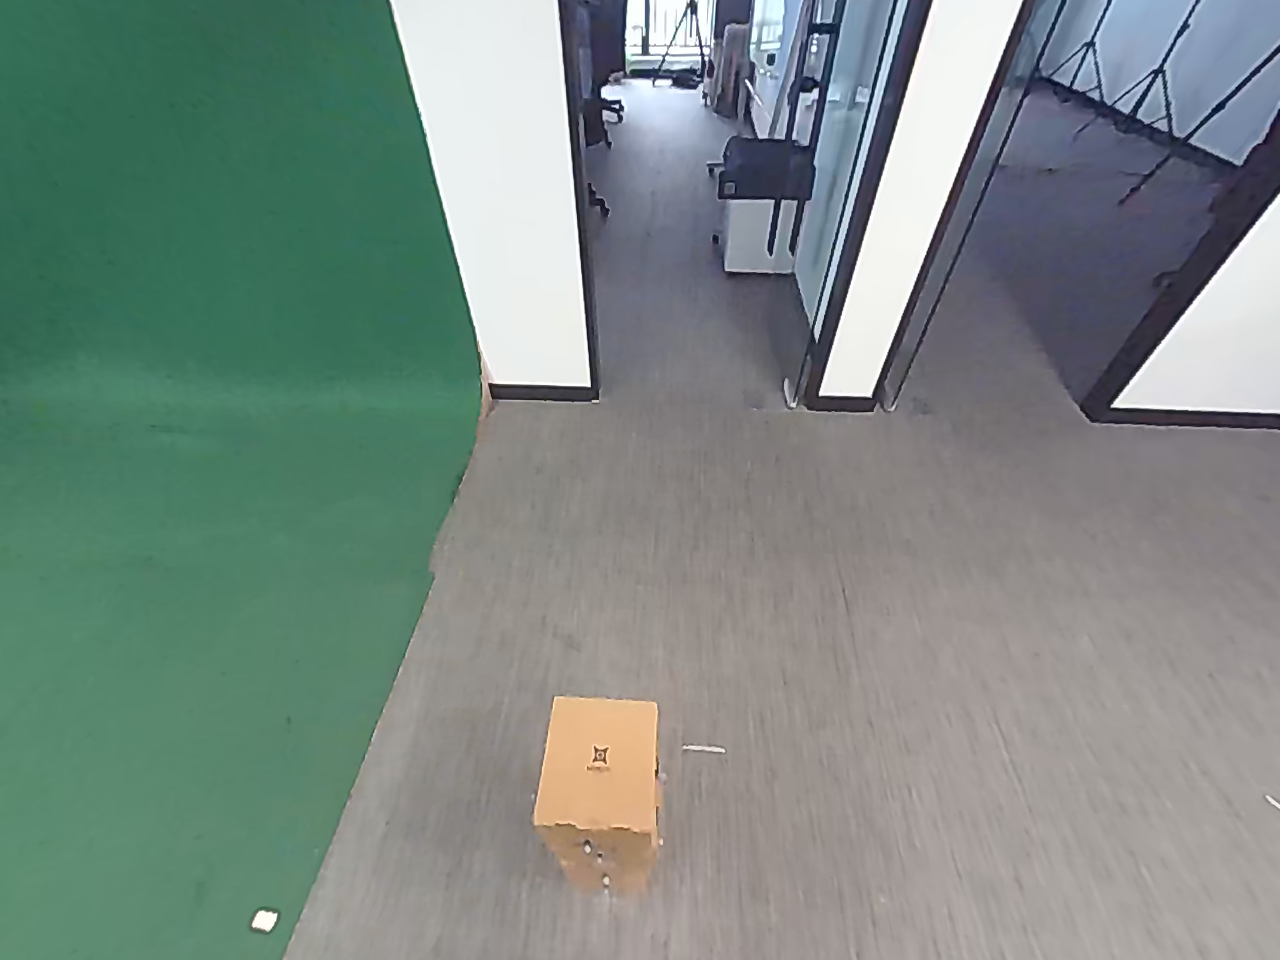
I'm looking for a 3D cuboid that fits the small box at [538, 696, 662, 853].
[{"bbox_3d":[-0.054,0.464,0.852,0.168,0.176,0.179,2,48,3],"label":"small box"}]

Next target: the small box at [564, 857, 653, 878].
[{"bbox_3d":[-0.056,0.685,1.093,0.168,0.176,0.179,-1,47,1],"label":"small box"}]

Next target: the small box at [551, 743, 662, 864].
[{"bbox_3d":[-0.051,0.576,0.970,0.179,0.176,0.168,1,47,3],"label":"small box"}]
